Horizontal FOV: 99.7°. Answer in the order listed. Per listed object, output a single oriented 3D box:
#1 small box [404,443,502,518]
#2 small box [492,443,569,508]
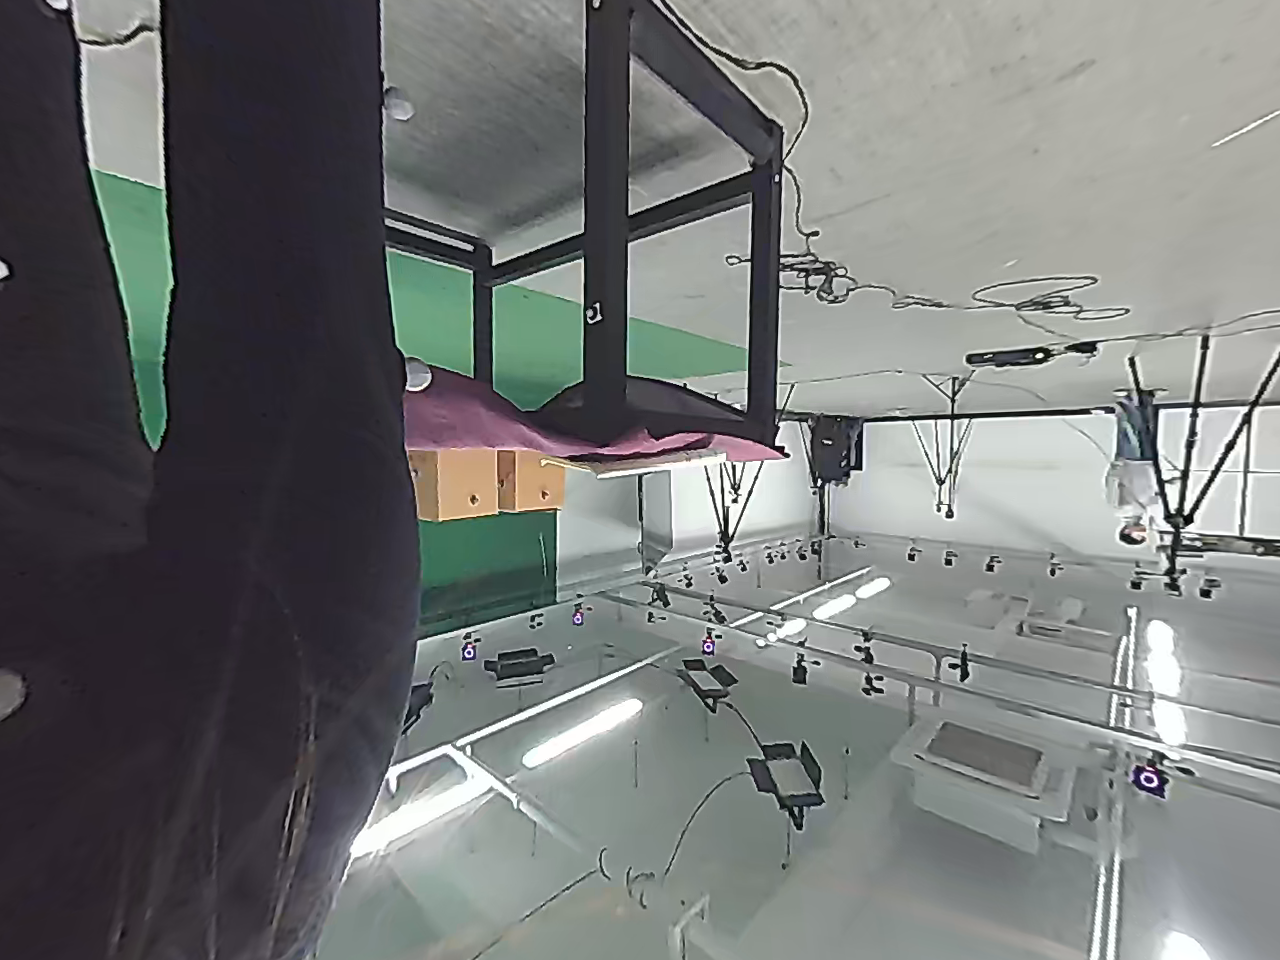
[{"bbox_3d":[-0.465,-0.003,1.347,0.168,0.176,0.179,2,-176,36],"label":"small box"},{"bbox_3d":[-0.318,-0.016,1.522,0.168,0.176,0.179,3,-176,41],"label":"small box"}]
